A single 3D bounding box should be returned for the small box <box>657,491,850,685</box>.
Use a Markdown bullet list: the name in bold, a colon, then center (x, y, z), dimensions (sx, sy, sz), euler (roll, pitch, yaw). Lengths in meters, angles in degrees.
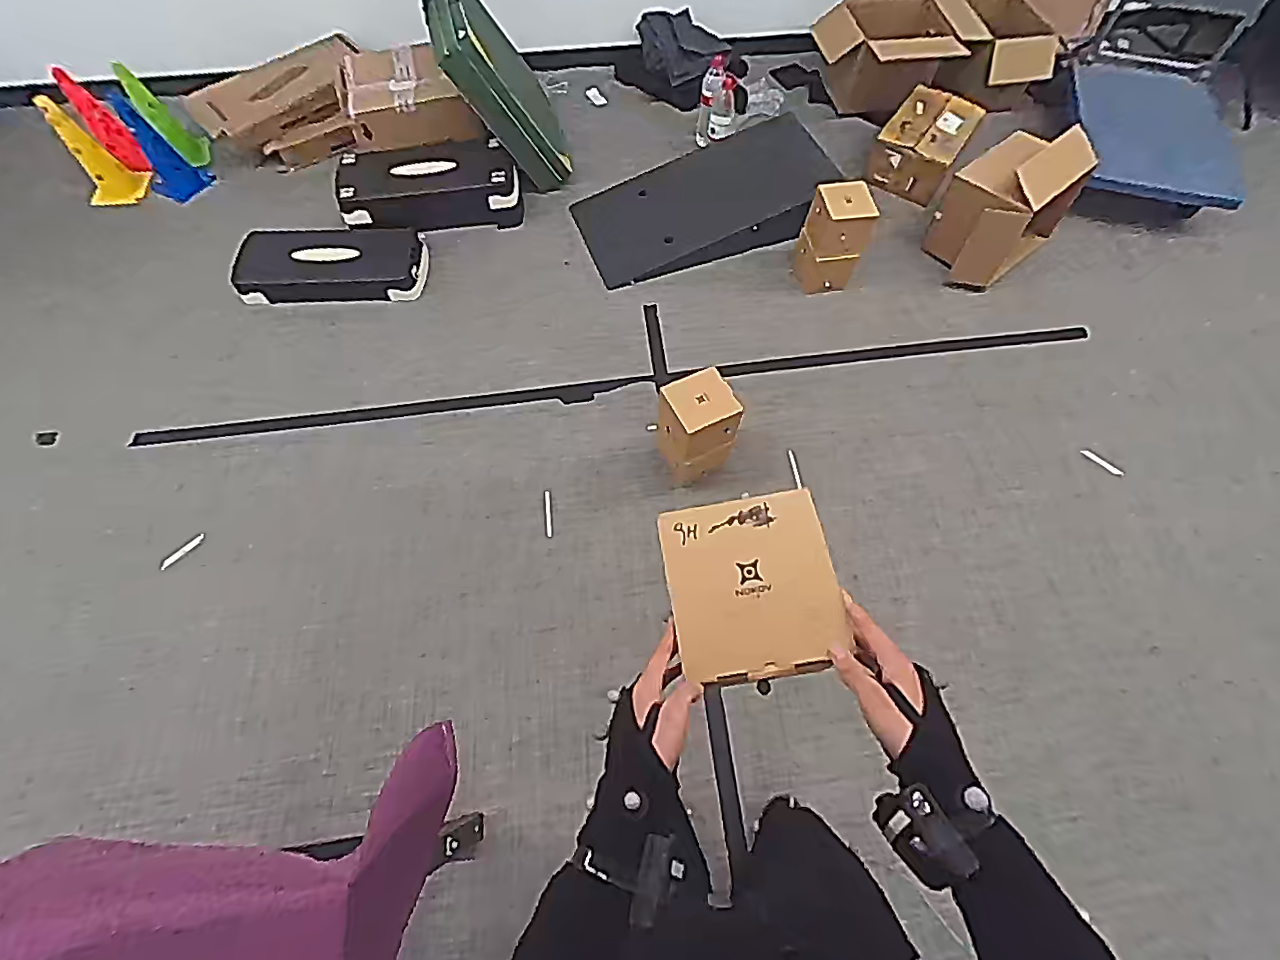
- **small box**: center (0.118, 0.132, 0.618), dimensions (0.168, 0.176, 0.179), euler (-10, 67, 3)
